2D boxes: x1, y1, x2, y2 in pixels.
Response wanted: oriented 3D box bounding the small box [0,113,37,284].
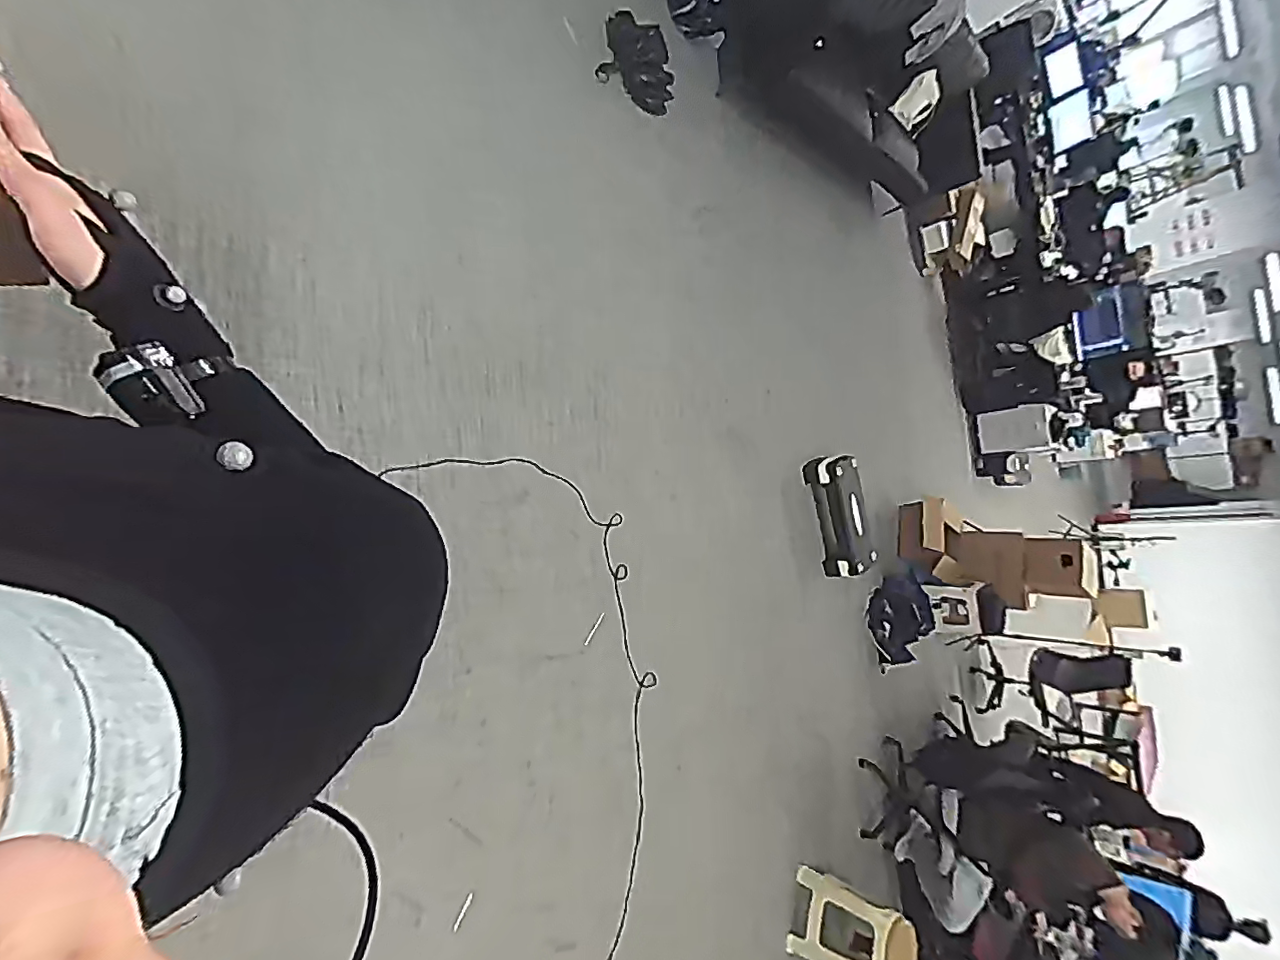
[{"bbox_3d":[-0.508,-0.236,0.319,0.168,0.176,0.179,-15,82,-40],"label":"small box"}]
